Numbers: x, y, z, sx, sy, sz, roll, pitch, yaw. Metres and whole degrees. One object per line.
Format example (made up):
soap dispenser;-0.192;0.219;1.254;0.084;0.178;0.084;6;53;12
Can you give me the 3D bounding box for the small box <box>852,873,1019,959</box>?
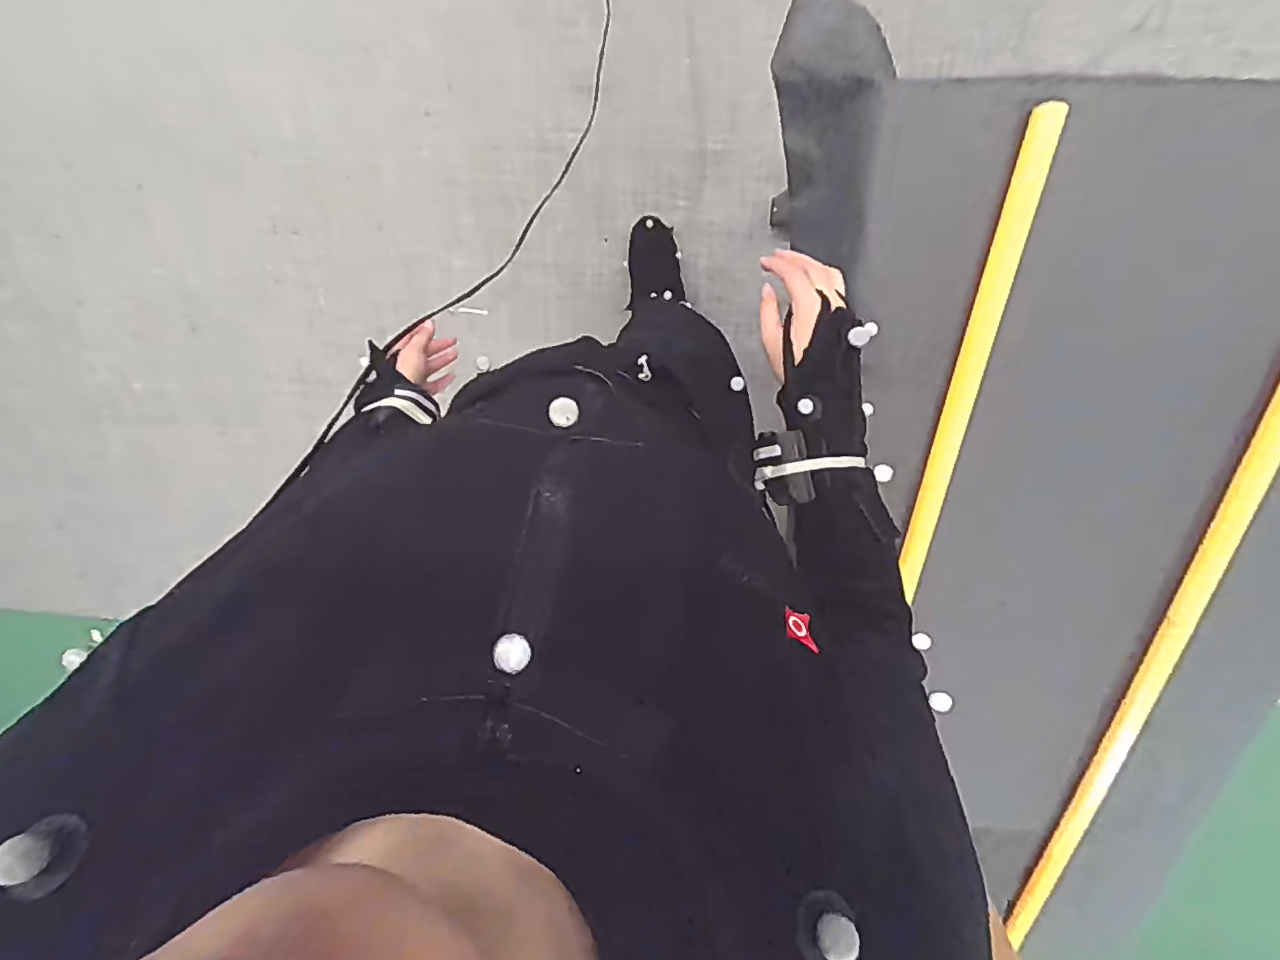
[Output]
small box;0.427;0.712;0.785;0.179;0.176;0.168;4;111;2
